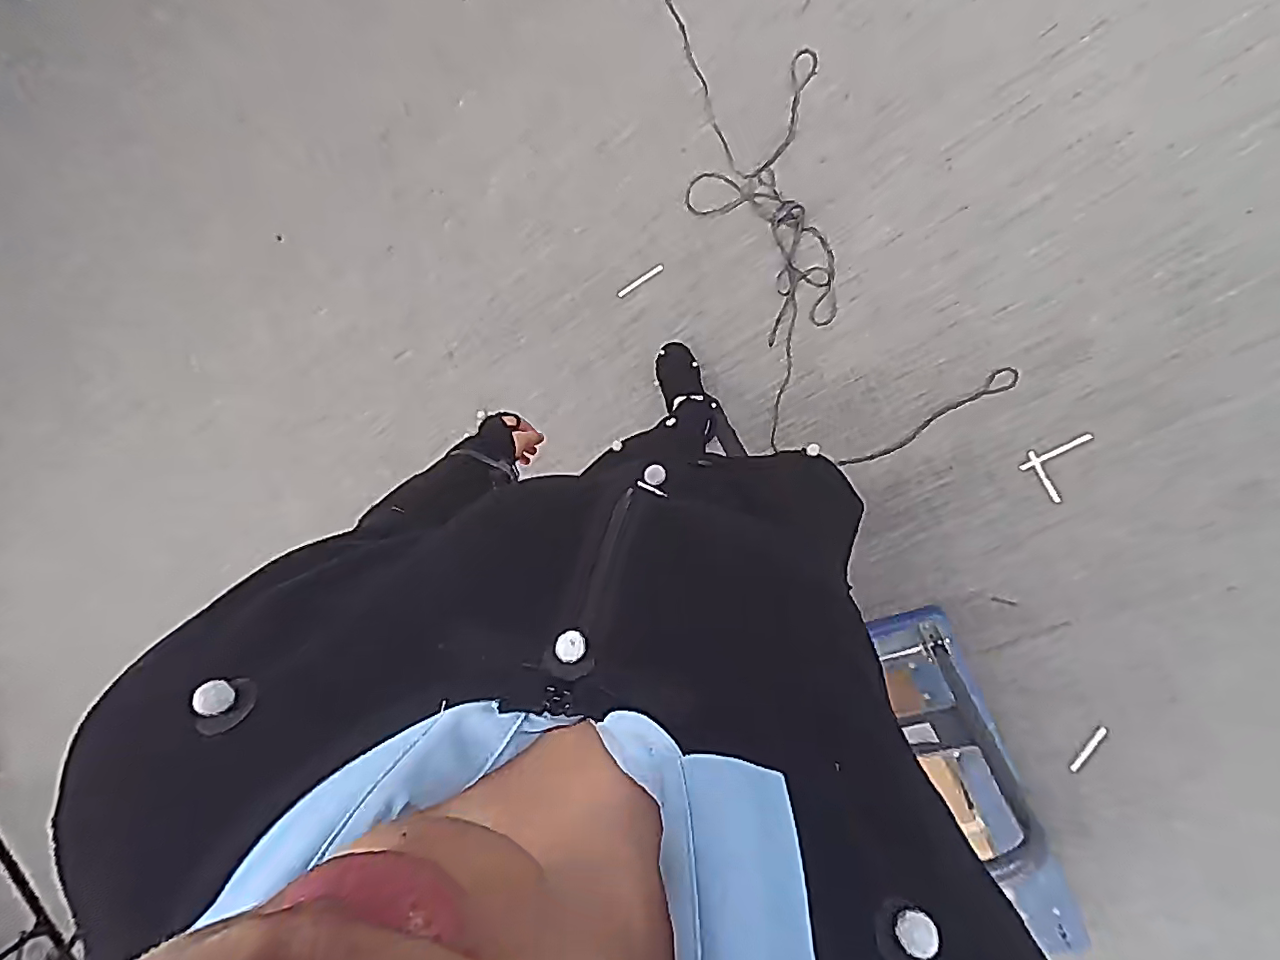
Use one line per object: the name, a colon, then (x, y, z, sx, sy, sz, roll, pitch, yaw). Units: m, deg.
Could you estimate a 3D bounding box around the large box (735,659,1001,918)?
large box: (0.471, 0.660, 1.192, 0.408, 0.320, 0.320, -28, 91, 19)
